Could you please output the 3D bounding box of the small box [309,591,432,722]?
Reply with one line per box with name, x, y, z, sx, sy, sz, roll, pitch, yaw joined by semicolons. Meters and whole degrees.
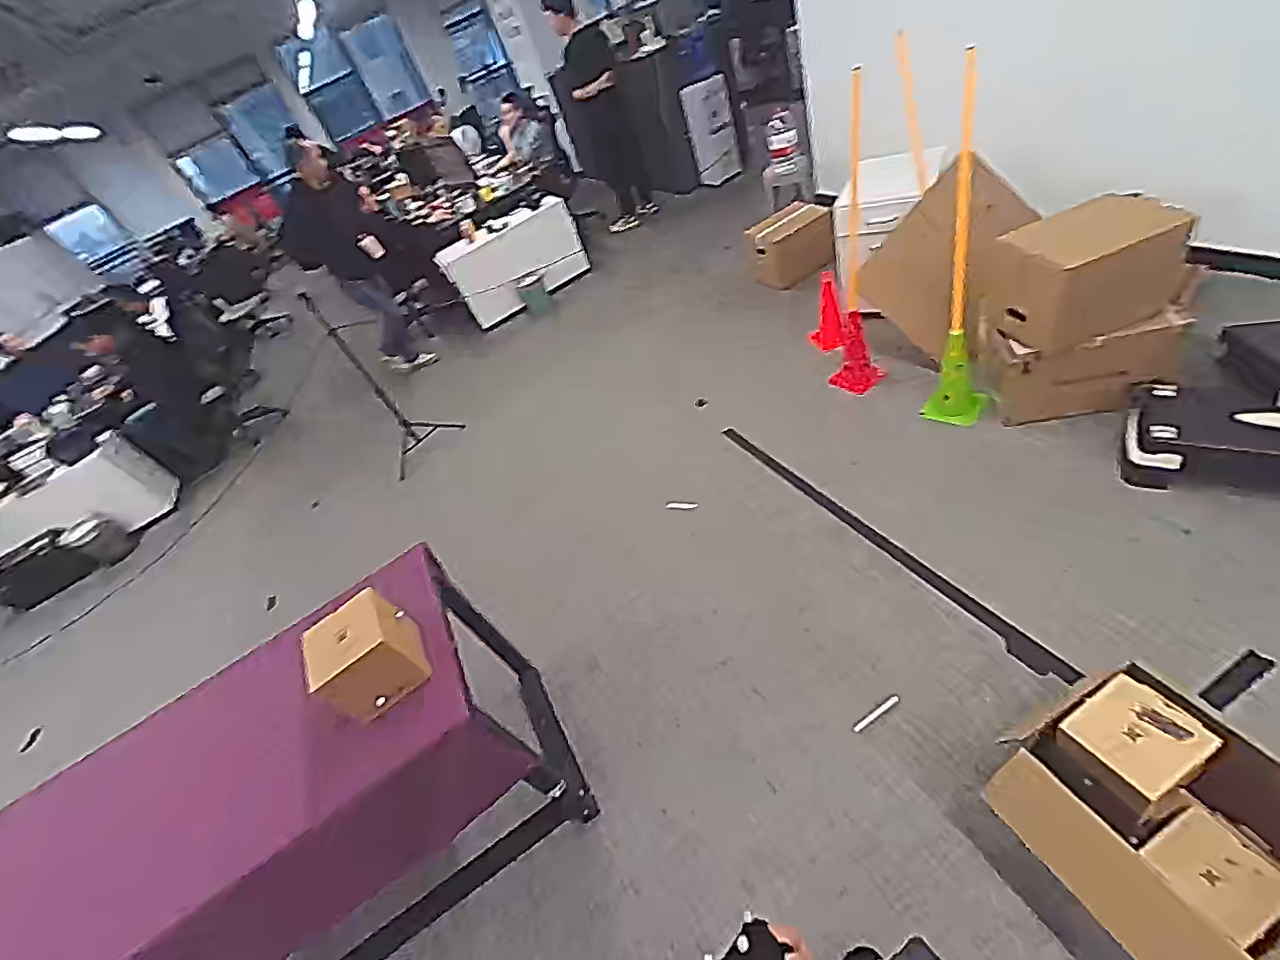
small box;-0.584;0.384;1.176;0.168;0.176;0.179;-37;41;-11
